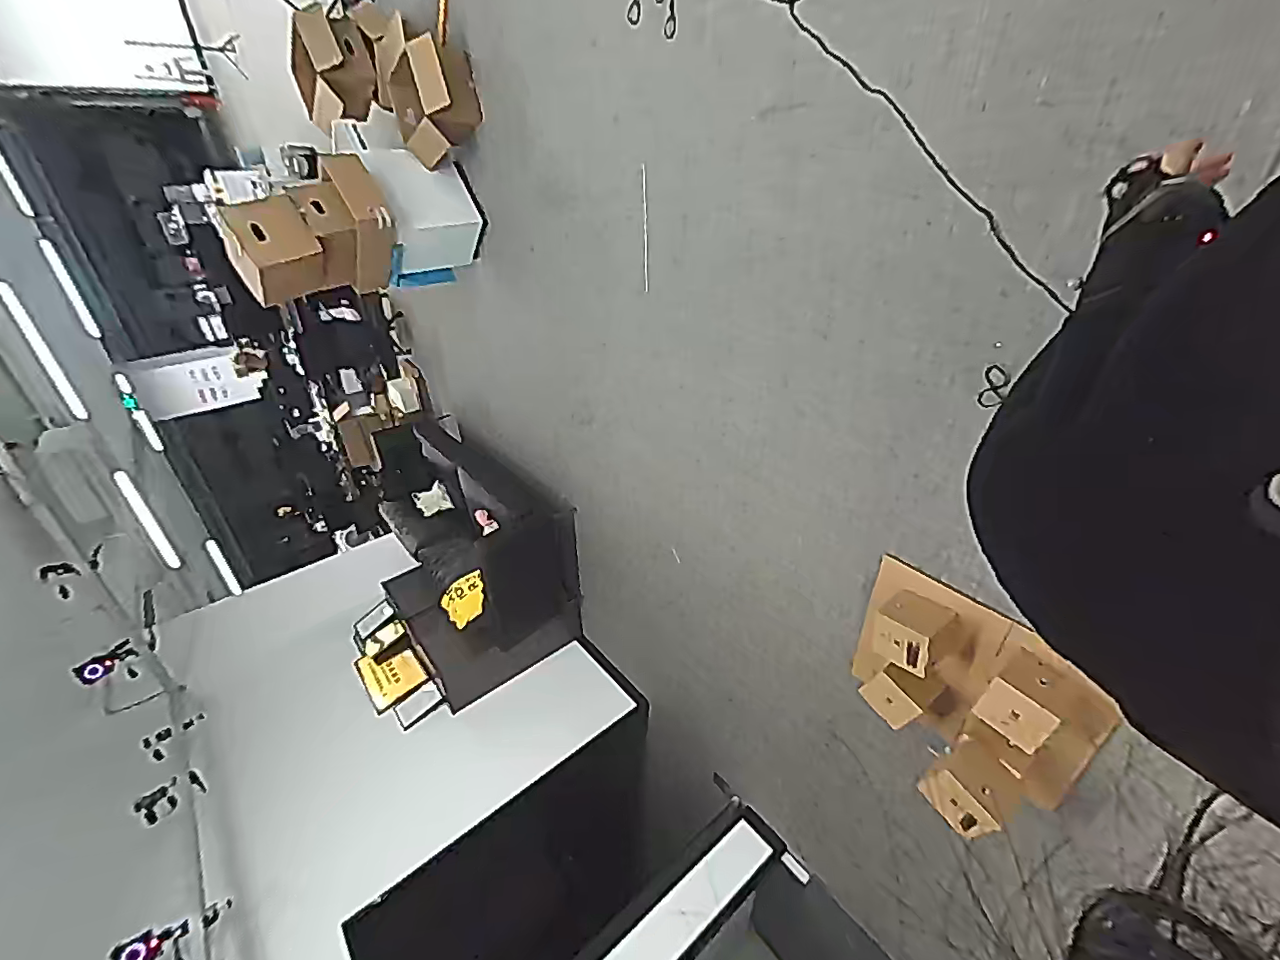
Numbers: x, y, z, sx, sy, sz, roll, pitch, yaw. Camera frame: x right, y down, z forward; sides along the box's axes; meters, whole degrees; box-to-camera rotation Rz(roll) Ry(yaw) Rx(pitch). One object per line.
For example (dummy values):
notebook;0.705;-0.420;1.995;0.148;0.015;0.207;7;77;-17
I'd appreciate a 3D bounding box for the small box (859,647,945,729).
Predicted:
small box;0.895;0.705;1.842;0.168;0.176;0.179;47;144;27

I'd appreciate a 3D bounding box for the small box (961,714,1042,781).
small box;1.087;0.829;1.651;0.168;0.176;0.179;34;137;41

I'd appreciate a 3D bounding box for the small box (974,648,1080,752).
small box;1.082;0.605;1.508;0.168;0.176;0.179;38;139;38

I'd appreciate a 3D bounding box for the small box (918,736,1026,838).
small box;0.960;0.884;1.562;0.179;0.176;0.168;48;144;28
